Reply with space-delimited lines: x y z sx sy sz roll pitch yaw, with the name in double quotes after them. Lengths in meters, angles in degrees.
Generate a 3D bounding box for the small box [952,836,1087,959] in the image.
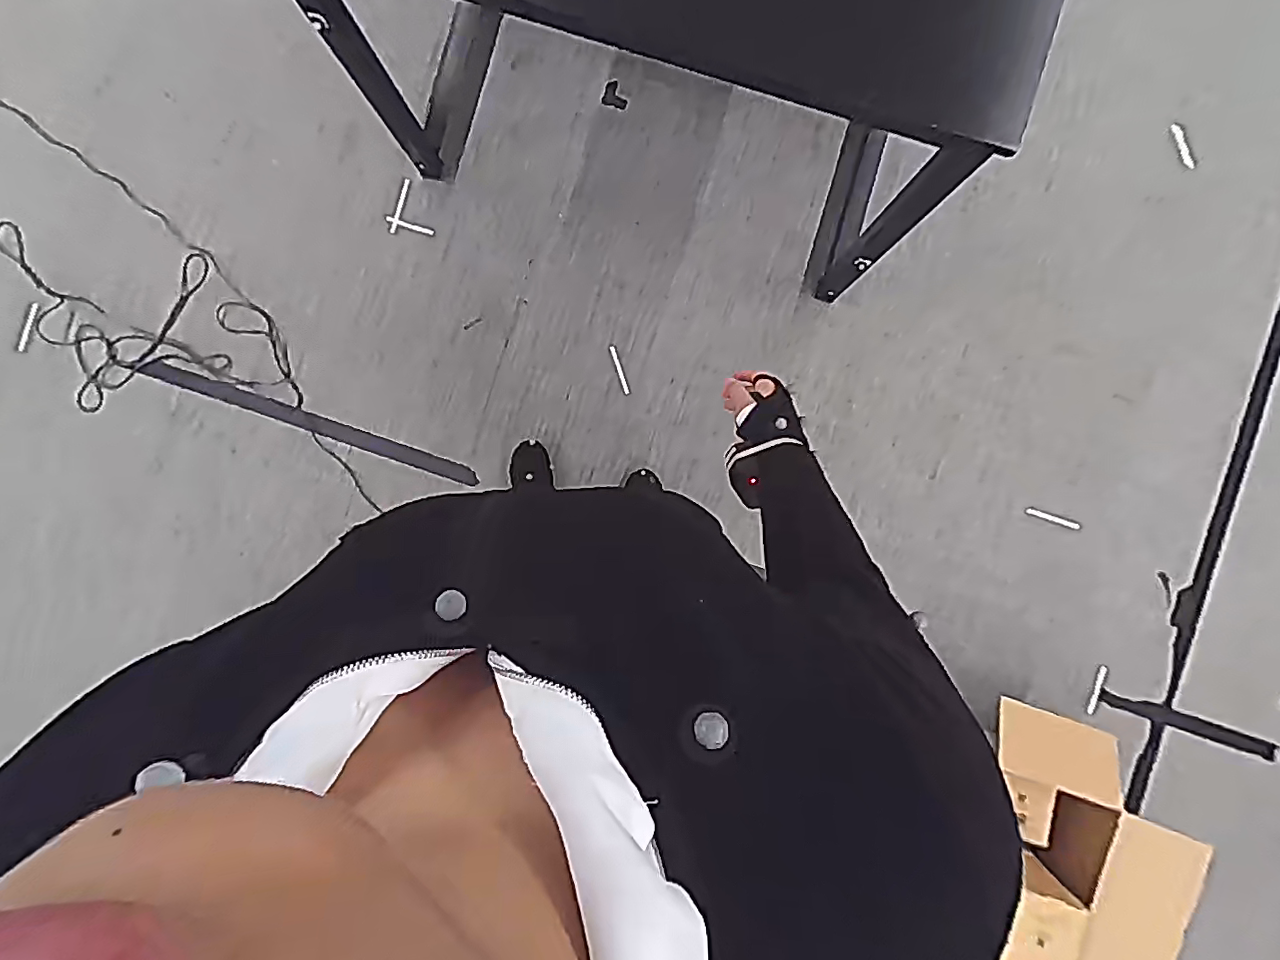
0.858 0.975 1.243 0.168 0.176 0.179 20 91 -2 "small box"
